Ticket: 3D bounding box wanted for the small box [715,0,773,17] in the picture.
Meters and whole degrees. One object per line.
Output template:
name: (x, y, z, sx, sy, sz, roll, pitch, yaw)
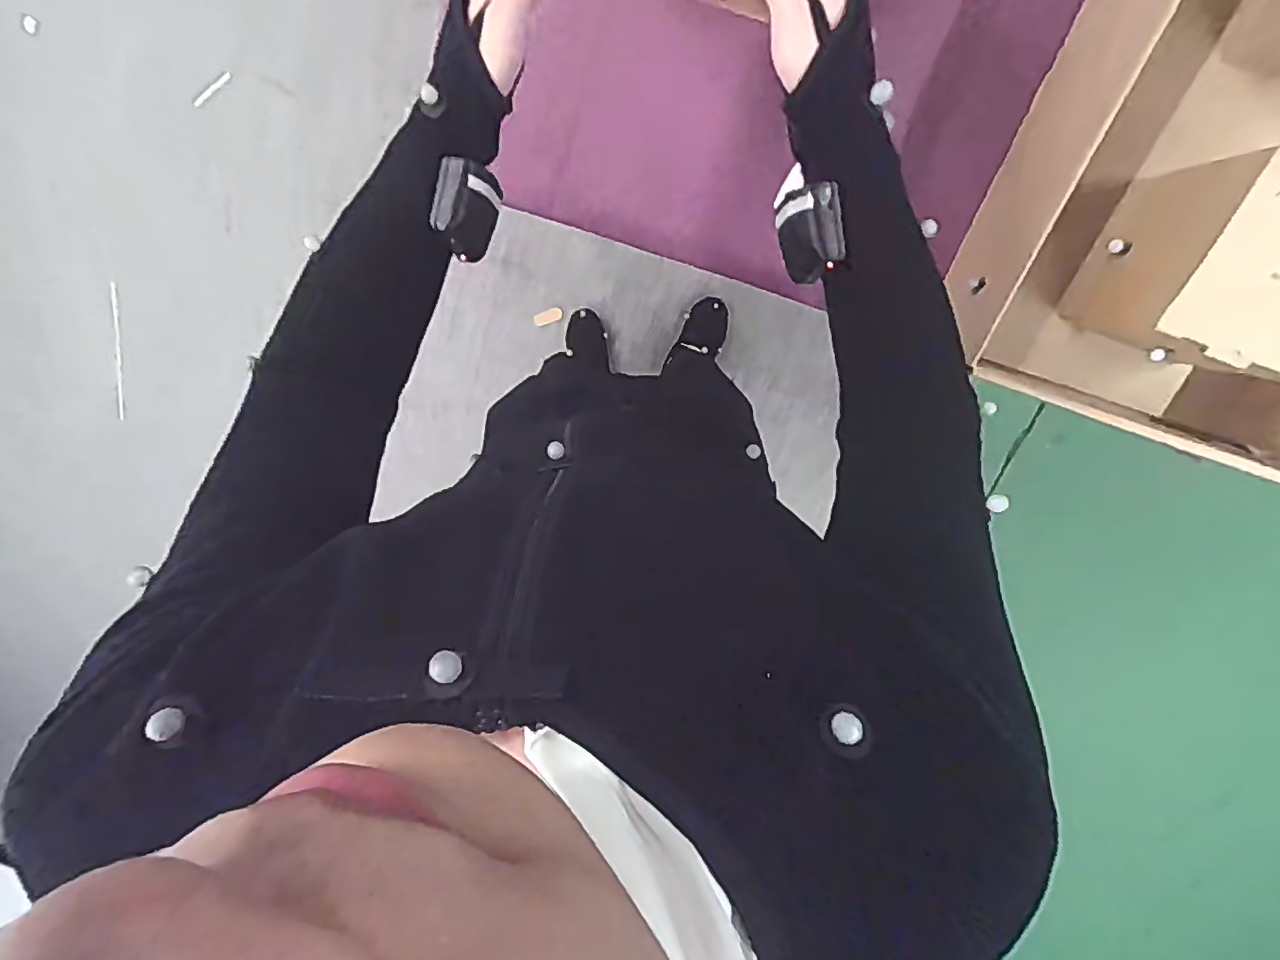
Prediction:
small box: (0.097, -0.643, 0.570, 0.168, 0.176, 0.179, 19, 112, -1)
